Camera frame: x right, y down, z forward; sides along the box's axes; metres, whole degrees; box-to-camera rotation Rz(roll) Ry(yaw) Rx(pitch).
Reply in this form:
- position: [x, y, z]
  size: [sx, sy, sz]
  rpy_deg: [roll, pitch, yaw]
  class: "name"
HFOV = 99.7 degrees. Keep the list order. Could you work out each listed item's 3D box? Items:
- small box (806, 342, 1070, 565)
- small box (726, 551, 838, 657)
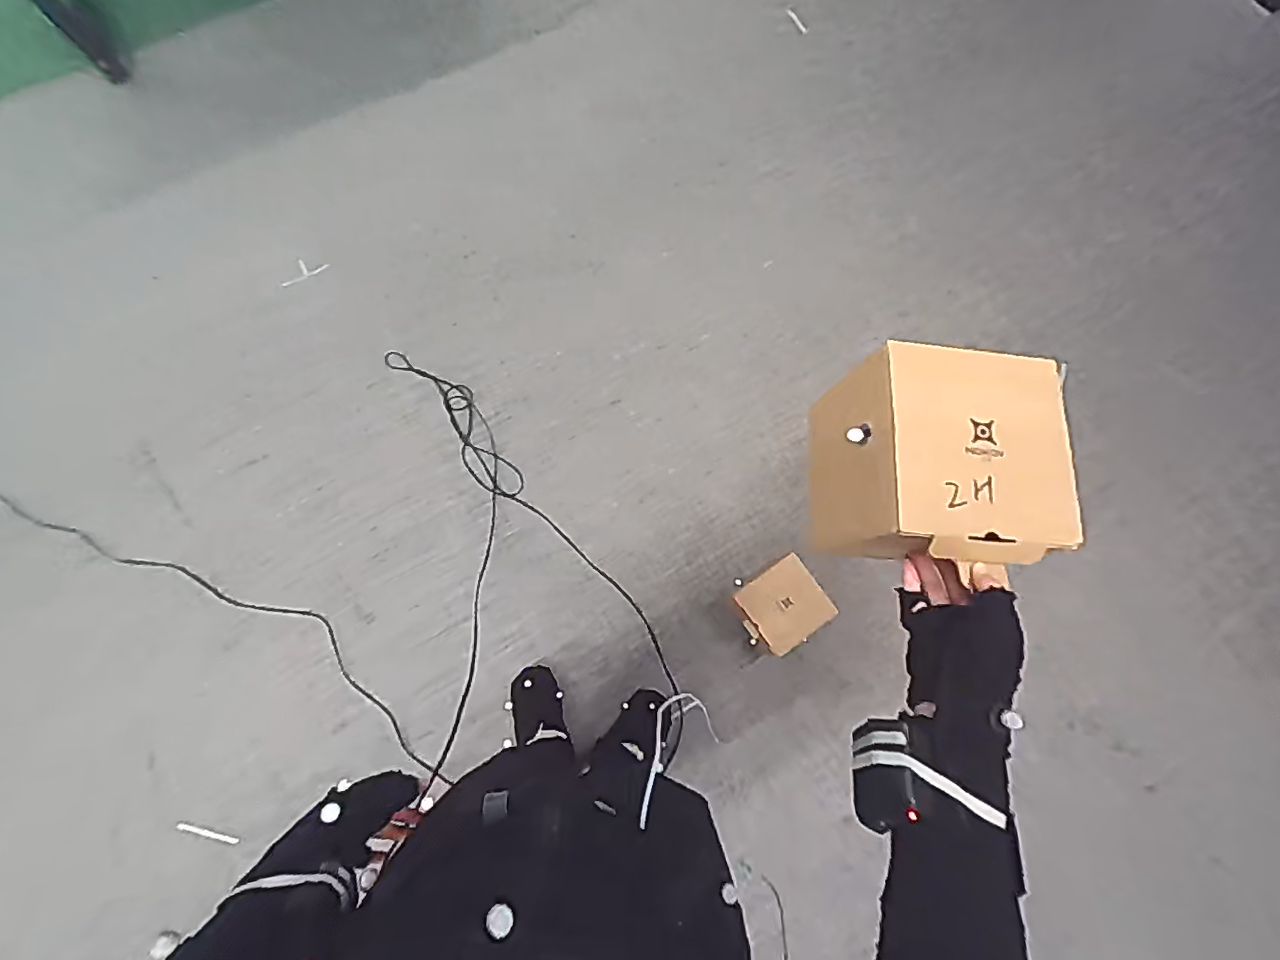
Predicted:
- position: [0.278, -0.014, 0.546]
  size: [0.168, 0.176, 0.179]
  rpy_deg: [5, 77, -7]
  class: "small box"
- position: [0.317, 0.287, 1.255]
  size: [0.179, 0.176, 0.168]
  rpy_deg: [-34, 80, -9]
  class: "small box"
